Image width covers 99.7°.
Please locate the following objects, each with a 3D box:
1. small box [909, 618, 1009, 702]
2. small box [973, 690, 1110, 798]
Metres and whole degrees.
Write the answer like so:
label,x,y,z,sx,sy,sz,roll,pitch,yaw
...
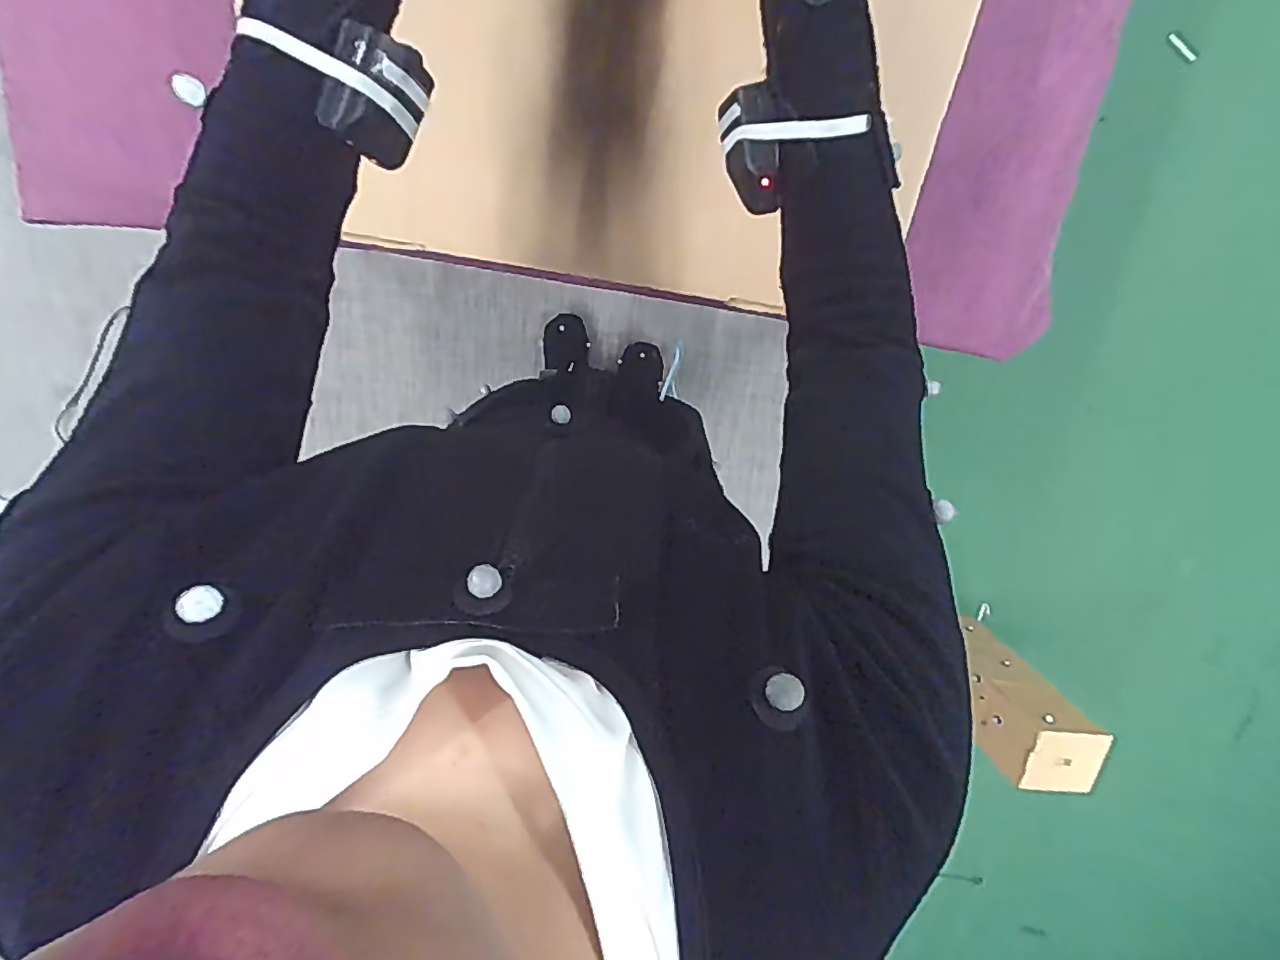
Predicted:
label,x,y,z,sx,sy,sz,roll,pitch,yaw
small box,0.939,0.530,1.612,0.179,0.176,0.168,8,106,-5
small box,0.952,0.628,1.300,0.179,0.176,0.168,6,107,-4
